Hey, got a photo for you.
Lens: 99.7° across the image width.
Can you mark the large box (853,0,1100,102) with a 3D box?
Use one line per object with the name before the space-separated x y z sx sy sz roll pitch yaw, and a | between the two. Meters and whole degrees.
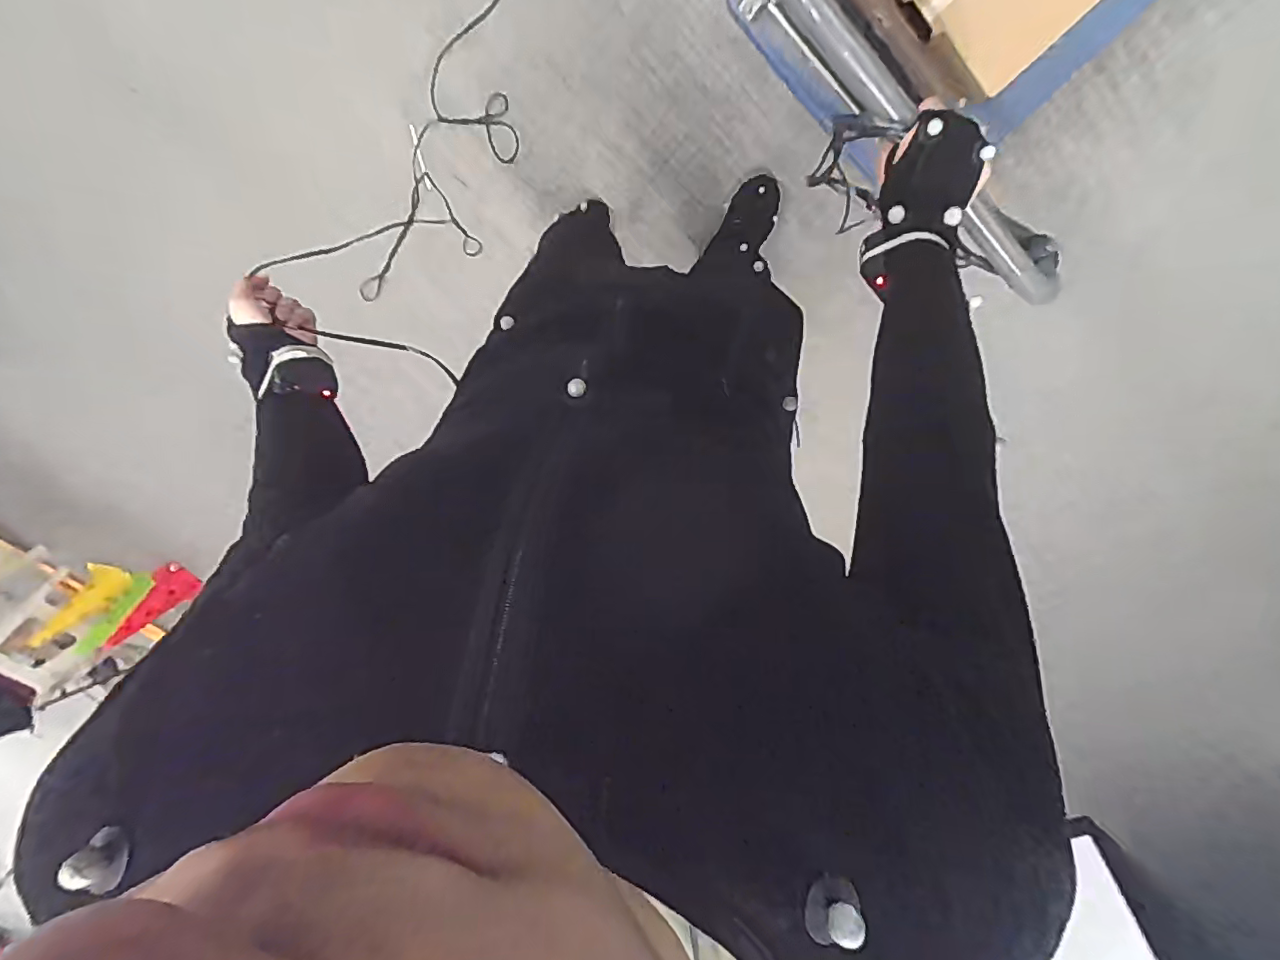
large box | 0.550 -0.842 0.772 0.320 0.320 0.408 40 120 -19
